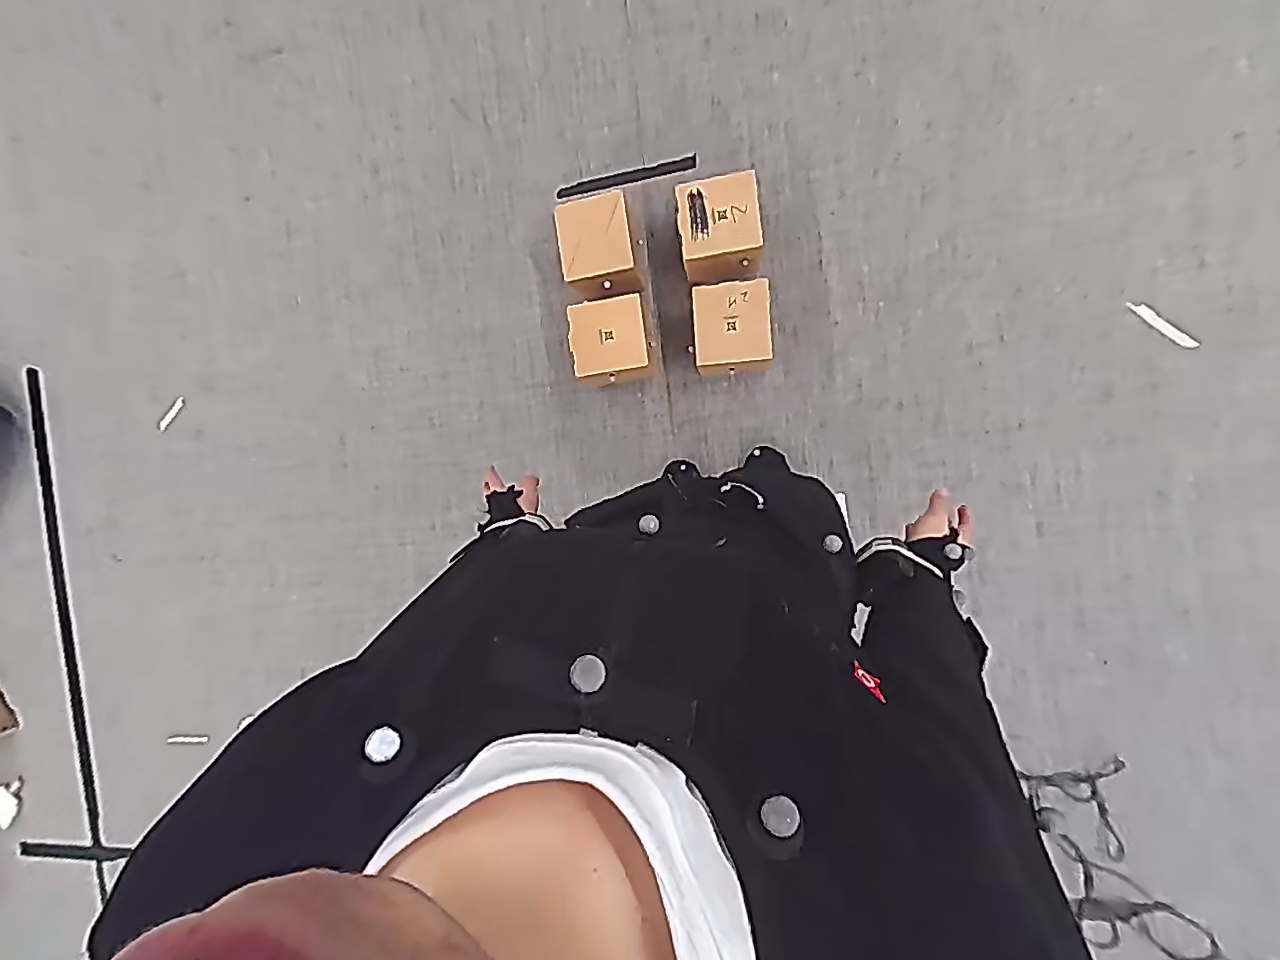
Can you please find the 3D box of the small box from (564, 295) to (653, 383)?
[{"bbox_3d":[-0.068,-0.334,1.312,0.179,0.176,0.168,-7,92,11],"label":"small box"}]

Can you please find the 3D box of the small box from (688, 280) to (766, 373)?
[{"bbox_3d":[0.204,-0.347,1.262,0.168,0.176,0.179,-3,93,9],"label":"small box"}]
